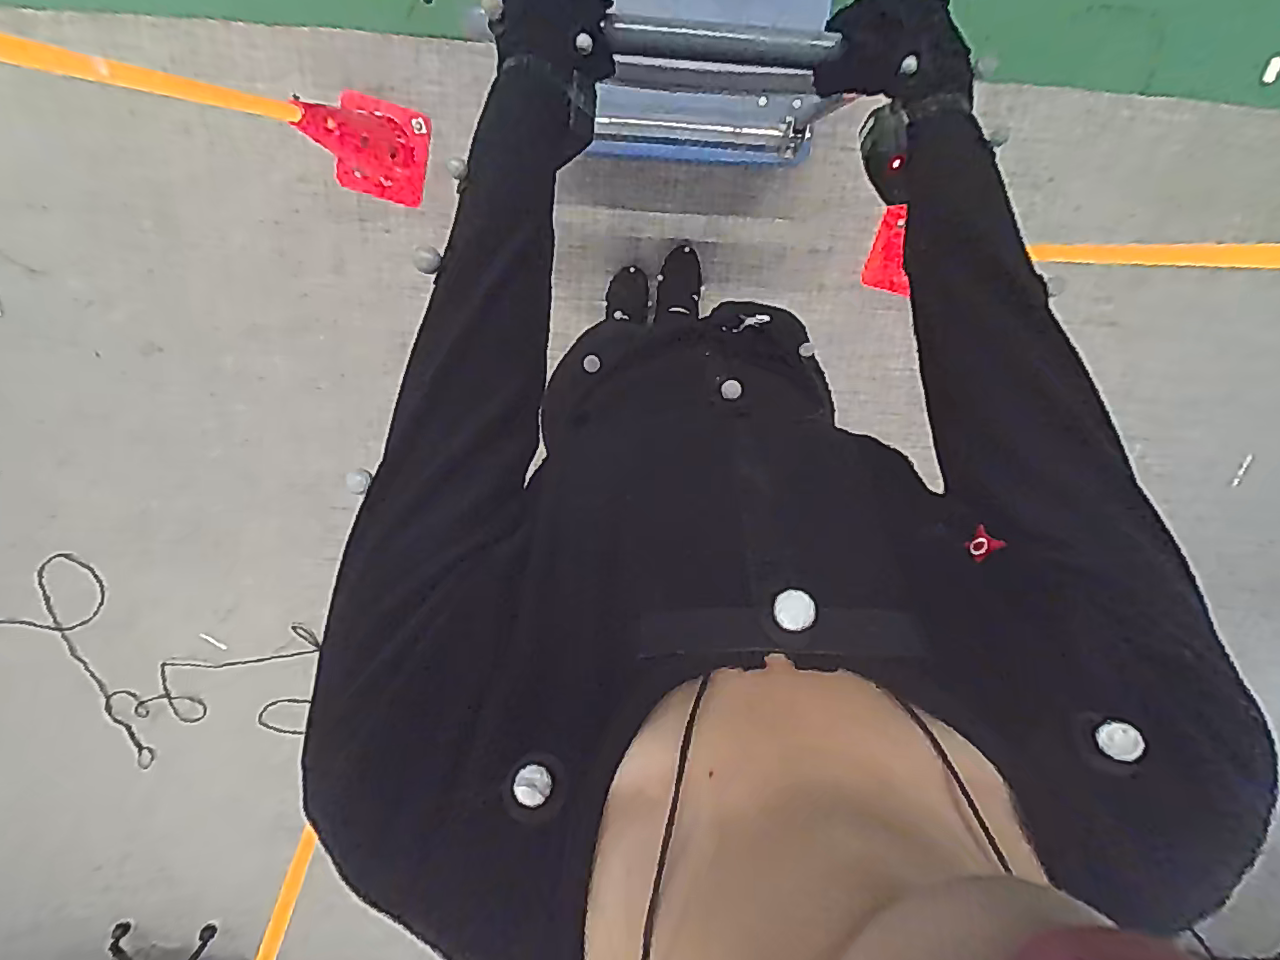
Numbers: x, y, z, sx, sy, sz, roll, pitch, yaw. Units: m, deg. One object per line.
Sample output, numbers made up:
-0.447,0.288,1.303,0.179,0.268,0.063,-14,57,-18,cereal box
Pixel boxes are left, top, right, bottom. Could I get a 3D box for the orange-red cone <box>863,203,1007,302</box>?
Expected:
0.679,-0.499,1.188,0.198,0.360,0.199,14,112,-6,orange-red cone
